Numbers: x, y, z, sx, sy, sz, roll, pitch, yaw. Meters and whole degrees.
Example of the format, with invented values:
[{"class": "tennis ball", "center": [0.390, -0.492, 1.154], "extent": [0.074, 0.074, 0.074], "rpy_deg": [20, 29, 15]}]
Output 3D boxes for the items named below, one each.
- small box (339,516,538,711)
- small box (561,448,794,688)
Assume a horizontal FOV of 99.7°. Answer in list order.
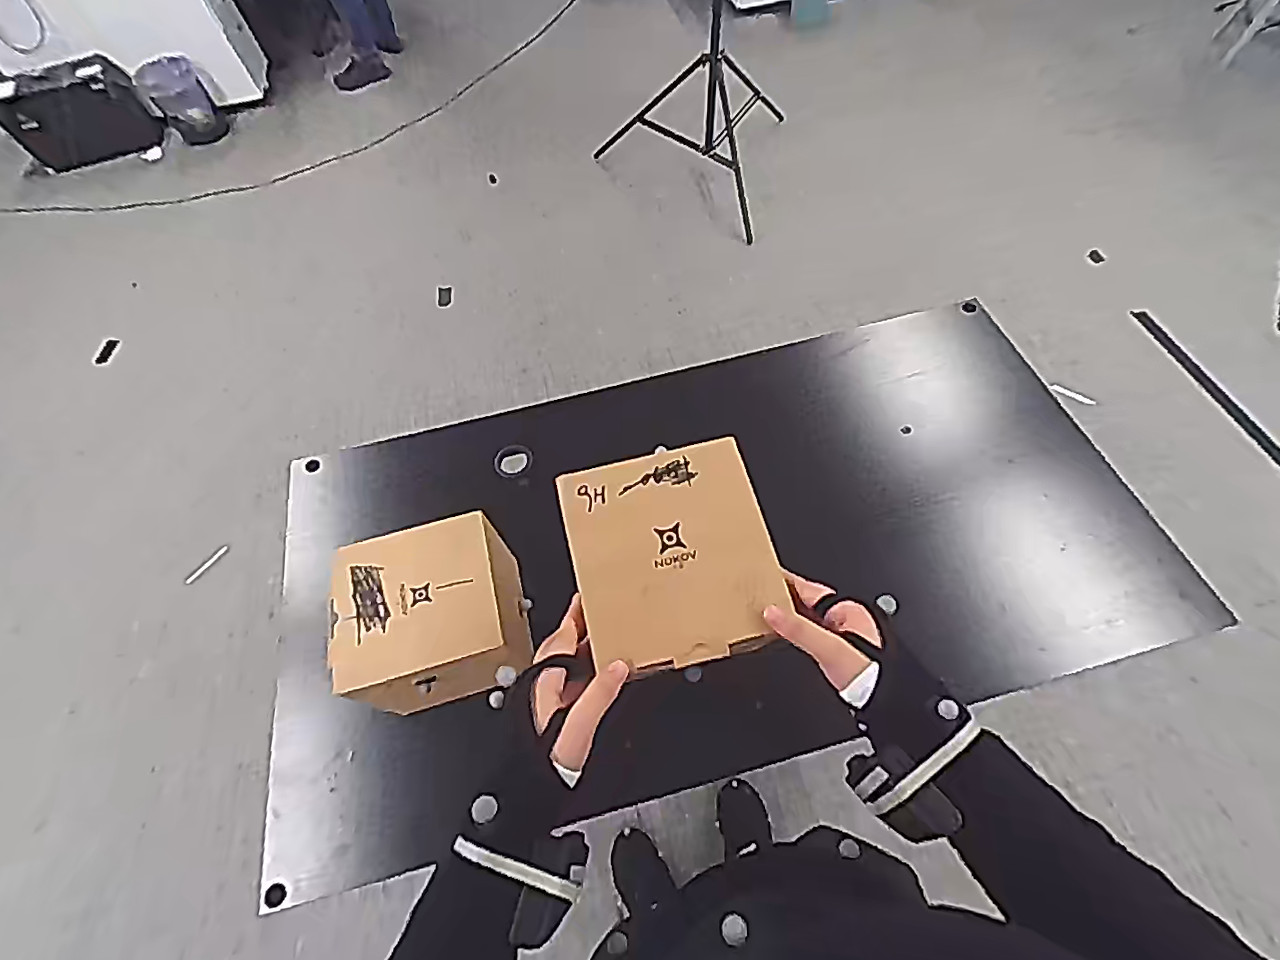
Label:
[{"class": "small box", "center": [-0.241, 0.172, 0.668], "extent": [0.179, 0.176, 0.168], "rpy_deg": [-16, 61, -6]}, {"class": "small box", "center": [0.028, 0.093, 0.531], "extent": [0.168, 0.176, 0.179], "rpy_deg": [-13, 70, -5]}]
